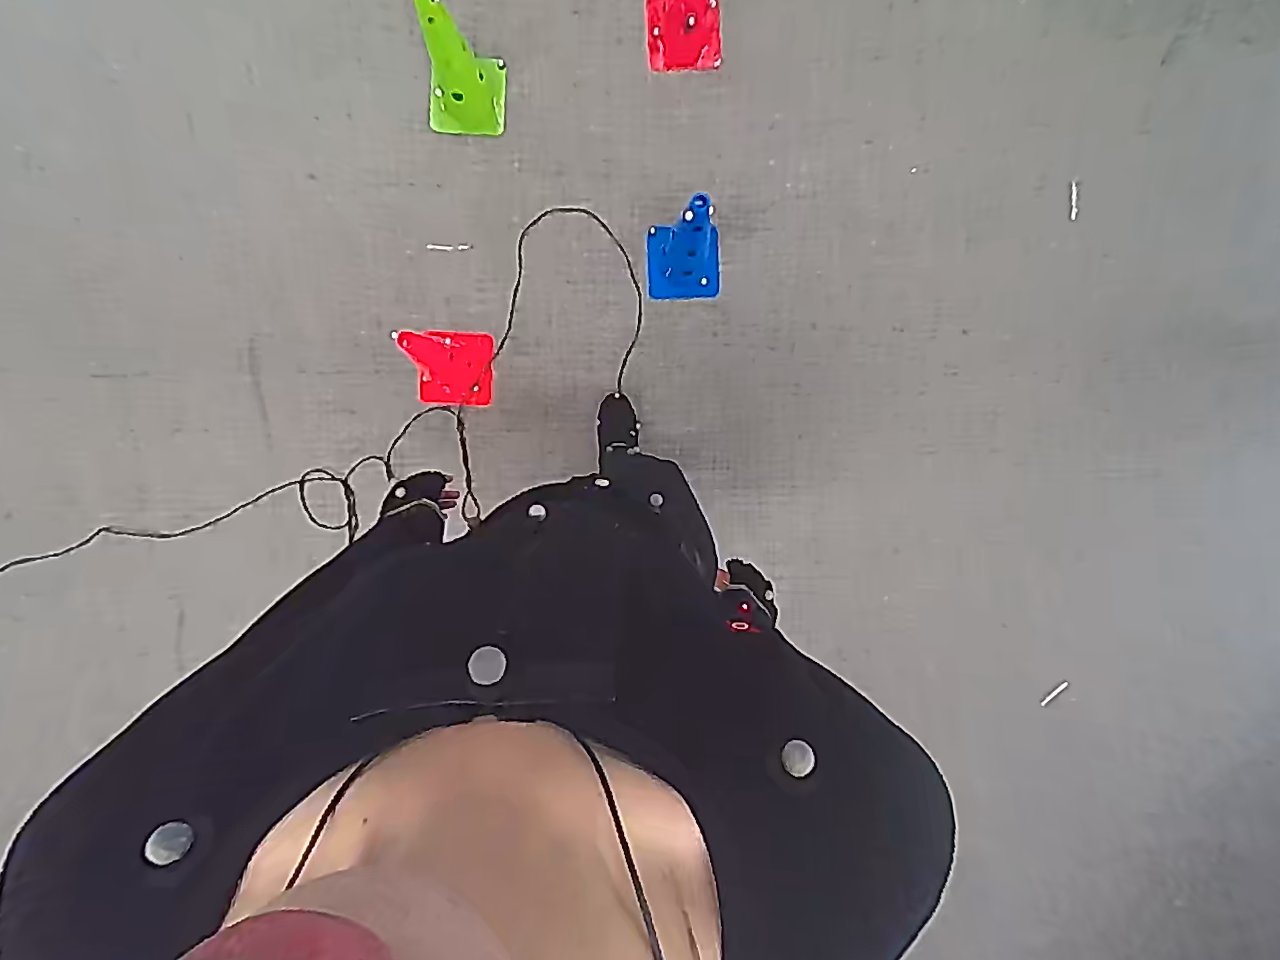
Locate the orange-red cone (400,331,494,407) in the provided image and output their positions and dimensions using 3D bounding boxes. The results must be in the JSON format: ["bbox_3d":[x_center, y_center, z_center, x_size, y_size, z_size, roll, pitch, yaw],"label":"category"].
[{"bbox_3d":[-0.494,-0.301,1.307,0.198,0.360,0.199,3,90,-3],"label":"orange-red cone"}]

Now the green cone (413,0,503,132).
[{"bbox_3d":[-0.465,-1.031,1.279,0.200,0.368,0.202,1,93,-1],"label":"green cone"}]
